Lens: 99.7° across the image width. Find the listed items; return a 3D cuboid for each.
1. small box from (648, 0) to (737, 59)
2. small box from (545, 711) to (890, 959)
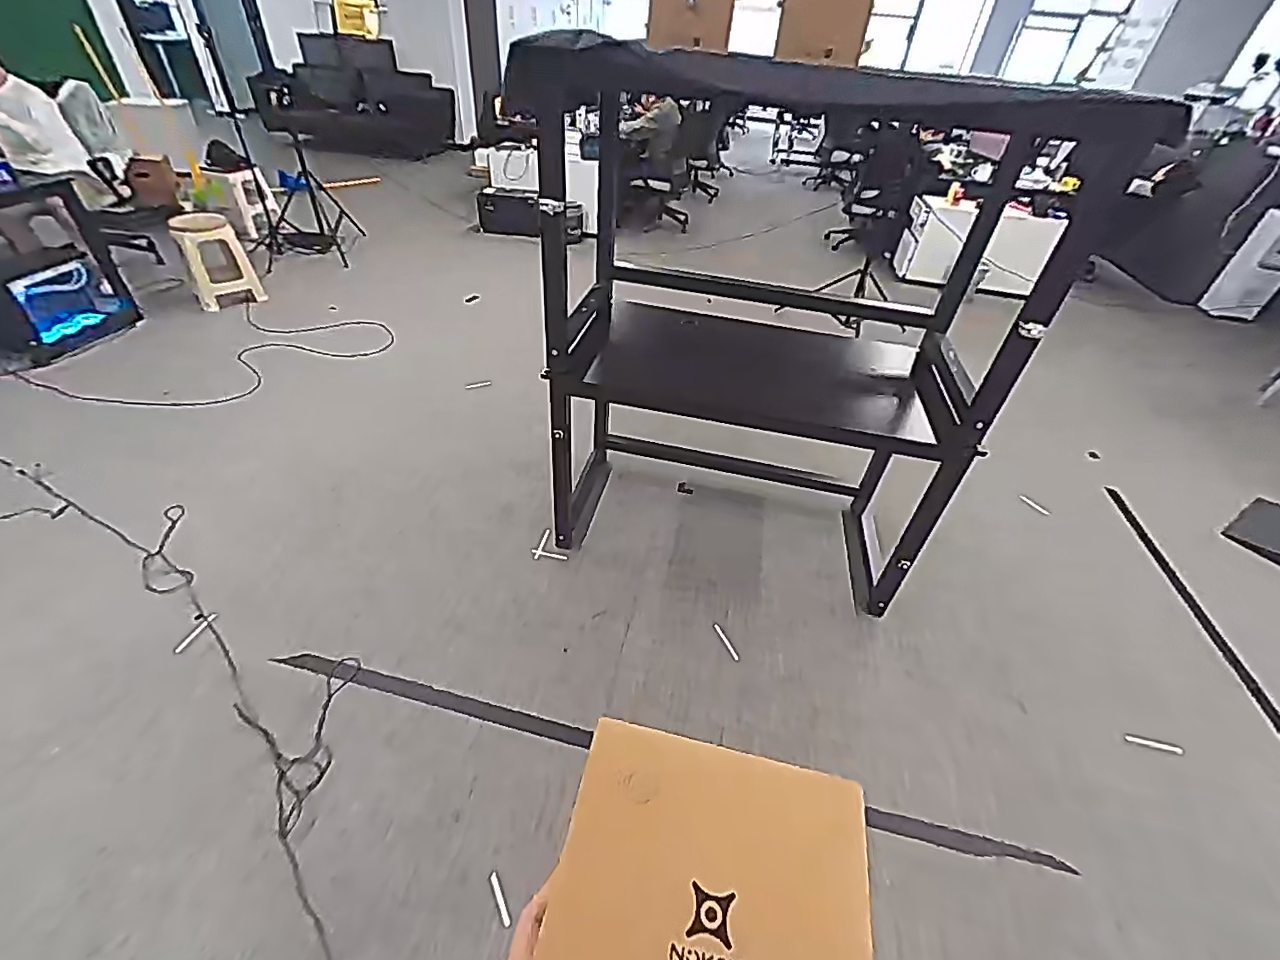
[{"bbox_3d":[0.110,-0.961,1.088,0.168,0.176,0.179,9,39,3],"label":"small box"},{"bbox_3d":[0.035,0.275,0.325,0.168,0.176,0.179,12,46,6],"label":"small box"}]
